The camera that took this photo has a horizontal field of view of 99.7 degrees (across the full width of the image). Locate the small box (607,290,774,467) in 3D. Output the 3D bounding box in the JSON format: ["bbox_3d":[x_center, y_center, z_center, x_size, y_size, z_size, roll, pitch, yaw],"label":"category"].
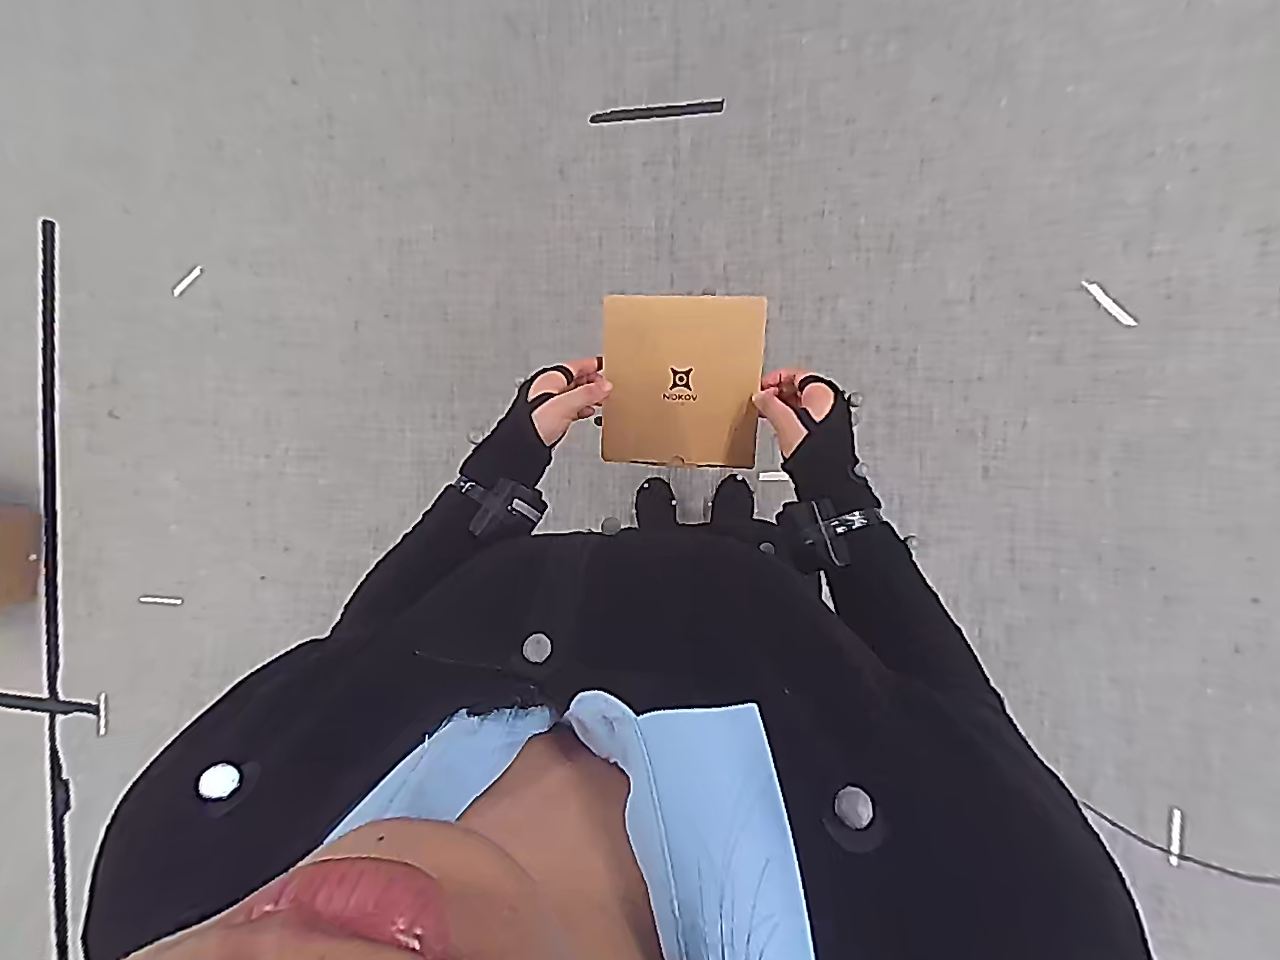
[{"bbox_3d":[0.056,-0.121,0.629,0.168,0.176,0.179,3,105,7],"label":"small box"}]
